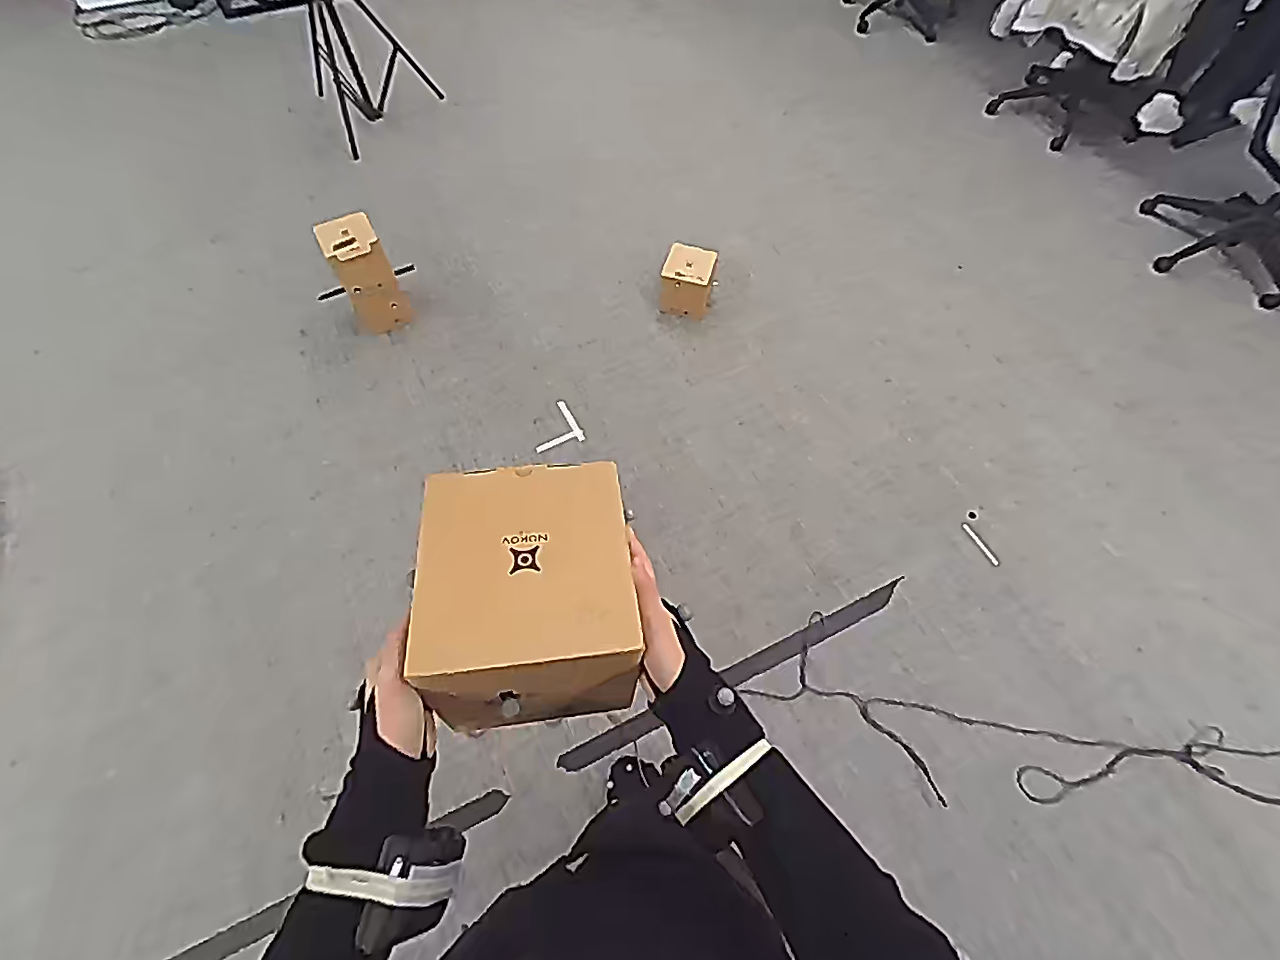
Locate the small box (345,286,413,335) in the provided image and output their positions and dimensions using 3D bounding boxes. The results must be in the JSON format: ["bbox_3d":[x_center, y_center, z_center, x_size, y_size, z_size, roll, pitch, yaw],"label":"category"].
[{"bbox_3d":[-0.931,-0.640,1.914,0.168,0.176,0.179,-27,64,-15],"label":"small box"}]

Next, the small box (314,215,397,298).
[{"bbox_3d":[-0.924,-0.721,1.771,0.168,0.176,0.179,-27,64,-15],"label":"small box"}]

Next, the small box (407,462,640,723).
[{"bbox_3d":[-0.094,0.107,0.488,0.168,0.176,0.179,-4,53,-8],"label":"small box"}]

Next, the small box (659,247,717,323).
[{"bbox_3d":[0.169,-0.703,1.956,0.168,0.176,0.179,16,62,7],"label":"small box"}]
